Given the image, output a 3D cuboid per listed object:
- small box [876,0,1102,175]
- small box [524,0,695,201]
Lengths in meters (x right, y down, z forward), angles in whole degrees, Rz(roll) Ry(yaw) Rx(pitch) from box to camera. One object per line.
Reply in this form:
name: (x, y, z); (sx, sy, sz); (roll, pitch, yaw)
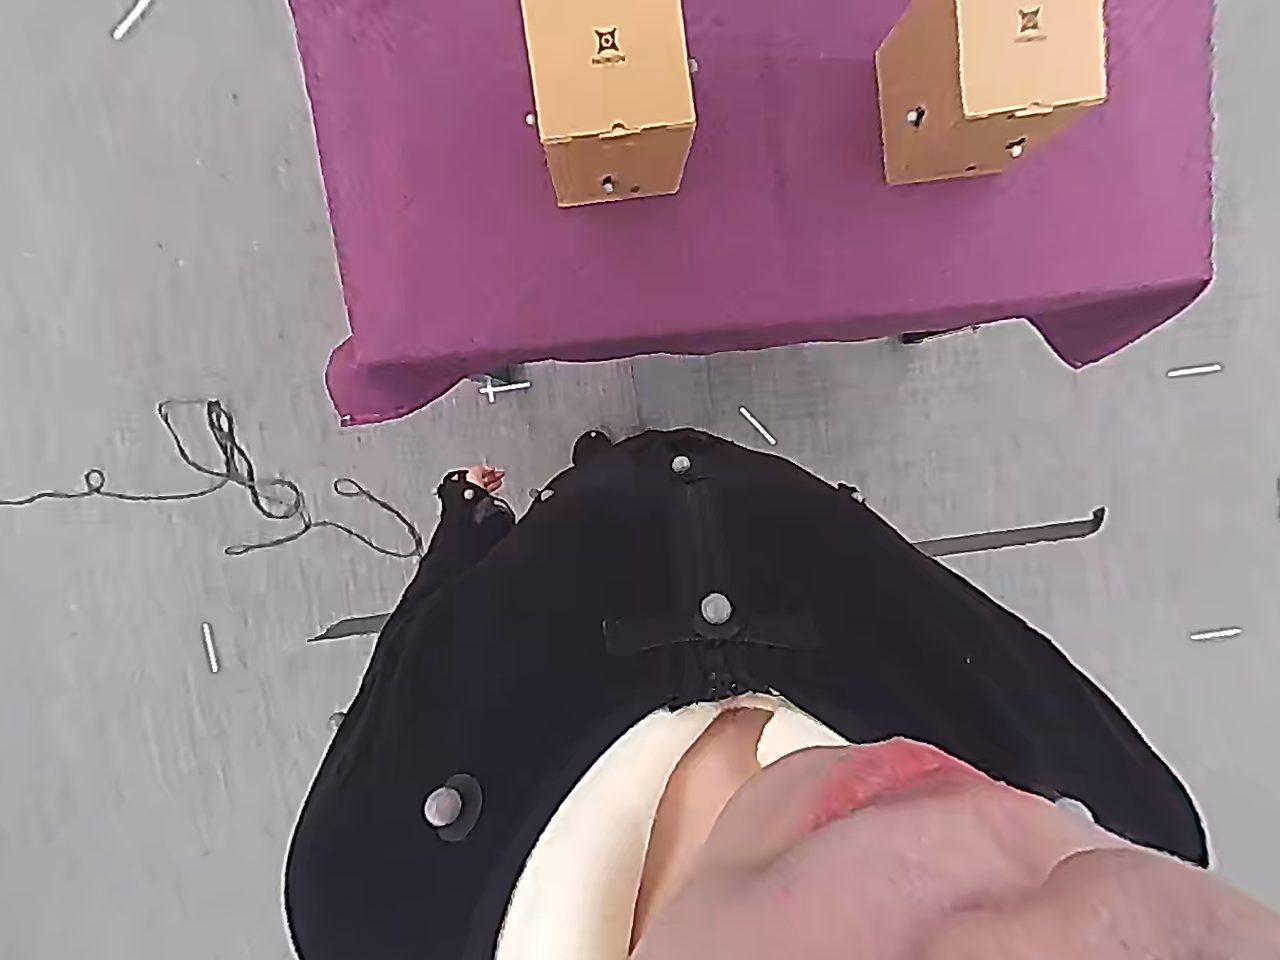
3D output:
small box: (0.409, -0.496, 0.657); (0.168, 0.176, 0.179); (-8, 96, -2)
small box: (-0.039, -0.460, 0.639); (0.168, 0.176, 0.179); (-9, 97, -2)
